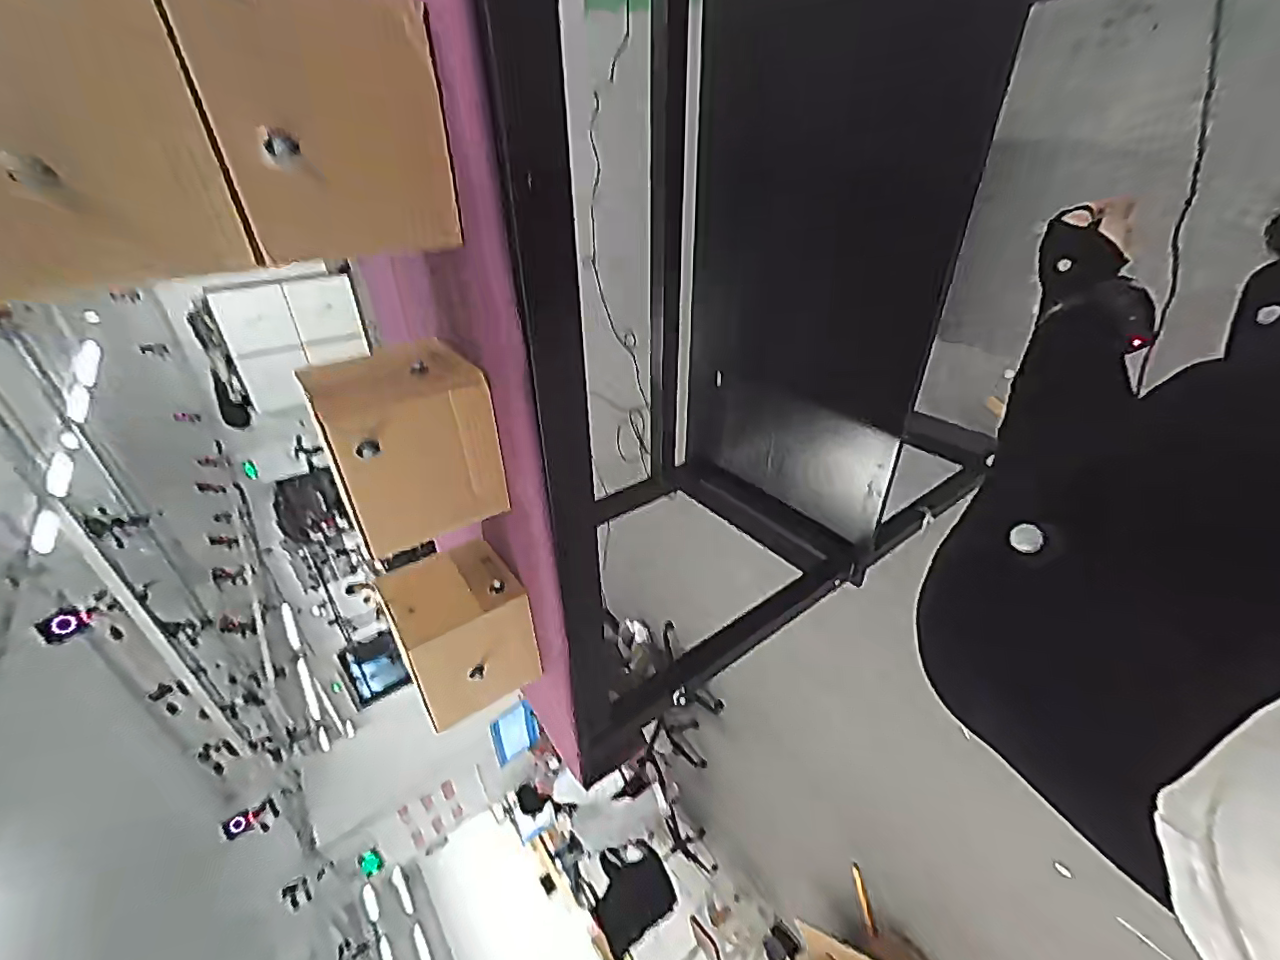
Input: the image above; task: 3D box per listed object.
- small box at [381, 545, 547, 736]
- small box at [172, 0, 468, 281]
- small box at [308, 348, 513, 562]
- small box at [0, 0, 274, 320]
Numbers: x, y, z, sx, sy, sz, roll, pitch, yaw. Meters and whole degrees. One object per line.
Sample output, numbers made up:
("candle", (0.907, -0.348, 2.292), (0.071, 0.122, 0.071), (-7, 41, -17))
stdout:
("small box", (-0.256, 0.226, 0.803), (0.168, 0.176, 0.179), (34, 137, 45))
("small box", (-0.265, -0.295, 0.471), (0.168, 0.176, 0.179), (39, 141, 40))
("small box", (-0.264, -0.040, 0.644), (0.168, 0.176, 0.179), (36, 137, 44))
("small box", (-0.397, -0.240, 0.392), (0.168, 0.176, 0.179), (38, 141, 40))
